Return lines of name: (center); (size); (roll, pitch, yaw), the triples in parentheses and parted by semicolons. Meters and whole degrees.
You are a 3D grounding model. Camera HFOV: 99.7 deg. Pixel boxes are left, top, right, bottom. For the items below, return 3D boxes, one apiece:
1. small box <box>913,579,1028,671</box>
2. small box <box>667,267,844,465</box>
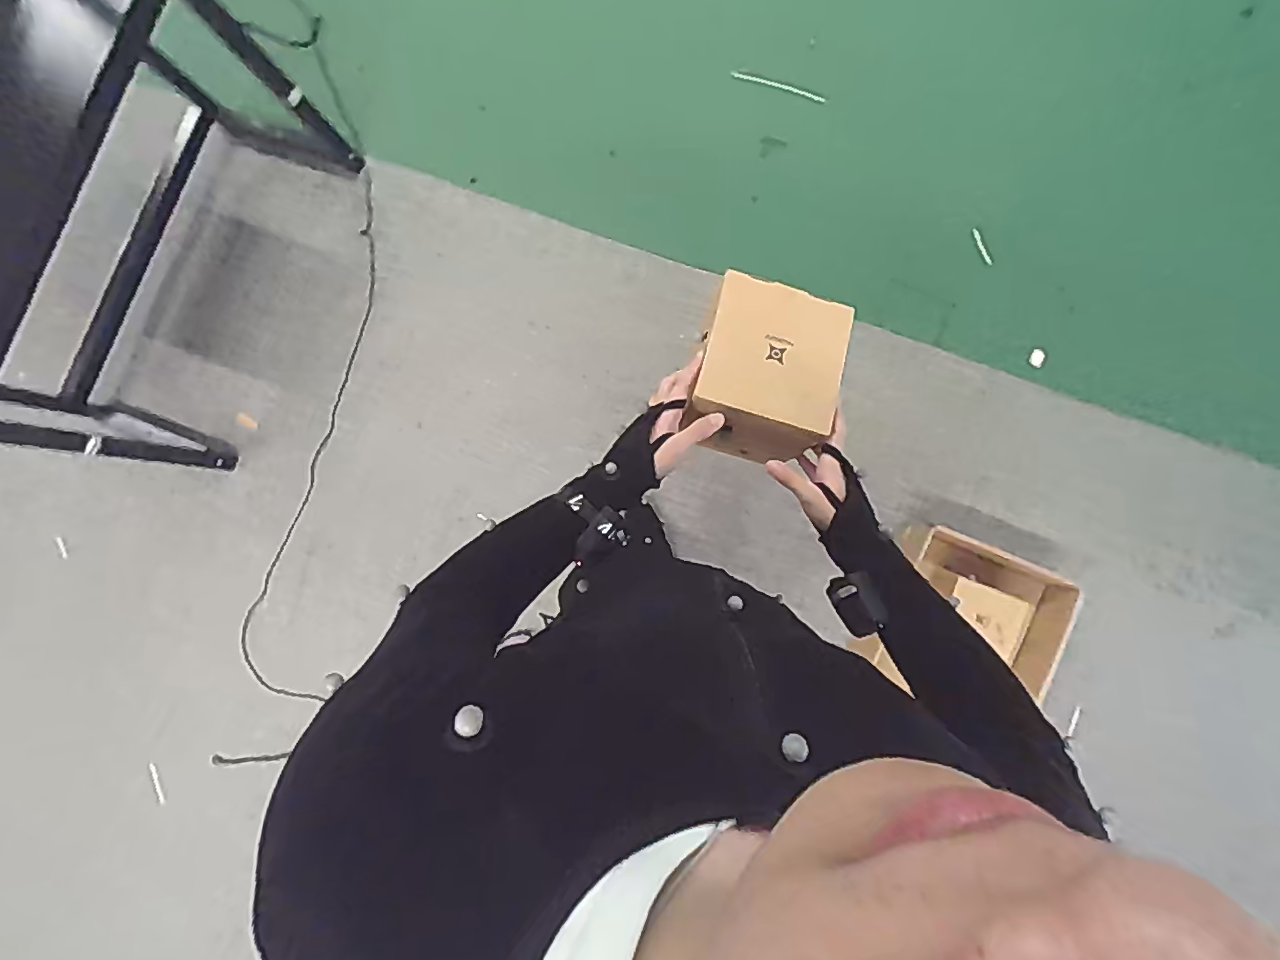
small box: (0.844, 0.365, 1.403); (0.179, 0.176, 0.168); (23, 88, 8)
small box: (0.138, -0.135, 0.706); (0.168, 0.176, 0.179); (16, 75, -3)
